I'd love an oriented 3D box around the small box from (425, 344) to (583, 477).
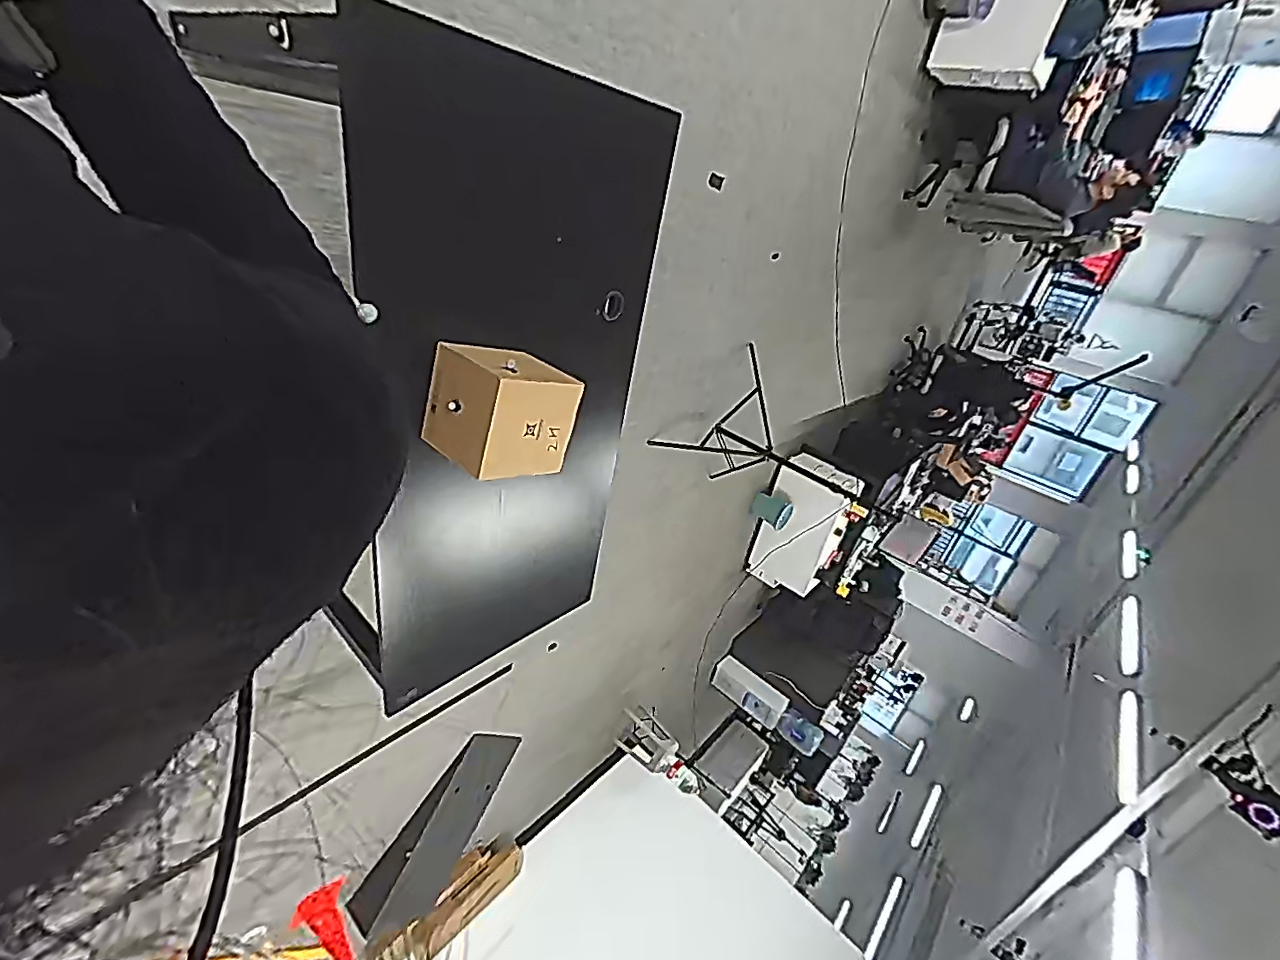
[{"bbox_3d":[-0.230,-0.119,0.901,0.179,0.176,0.168,-9,124,-53],"label":"small box"}]
